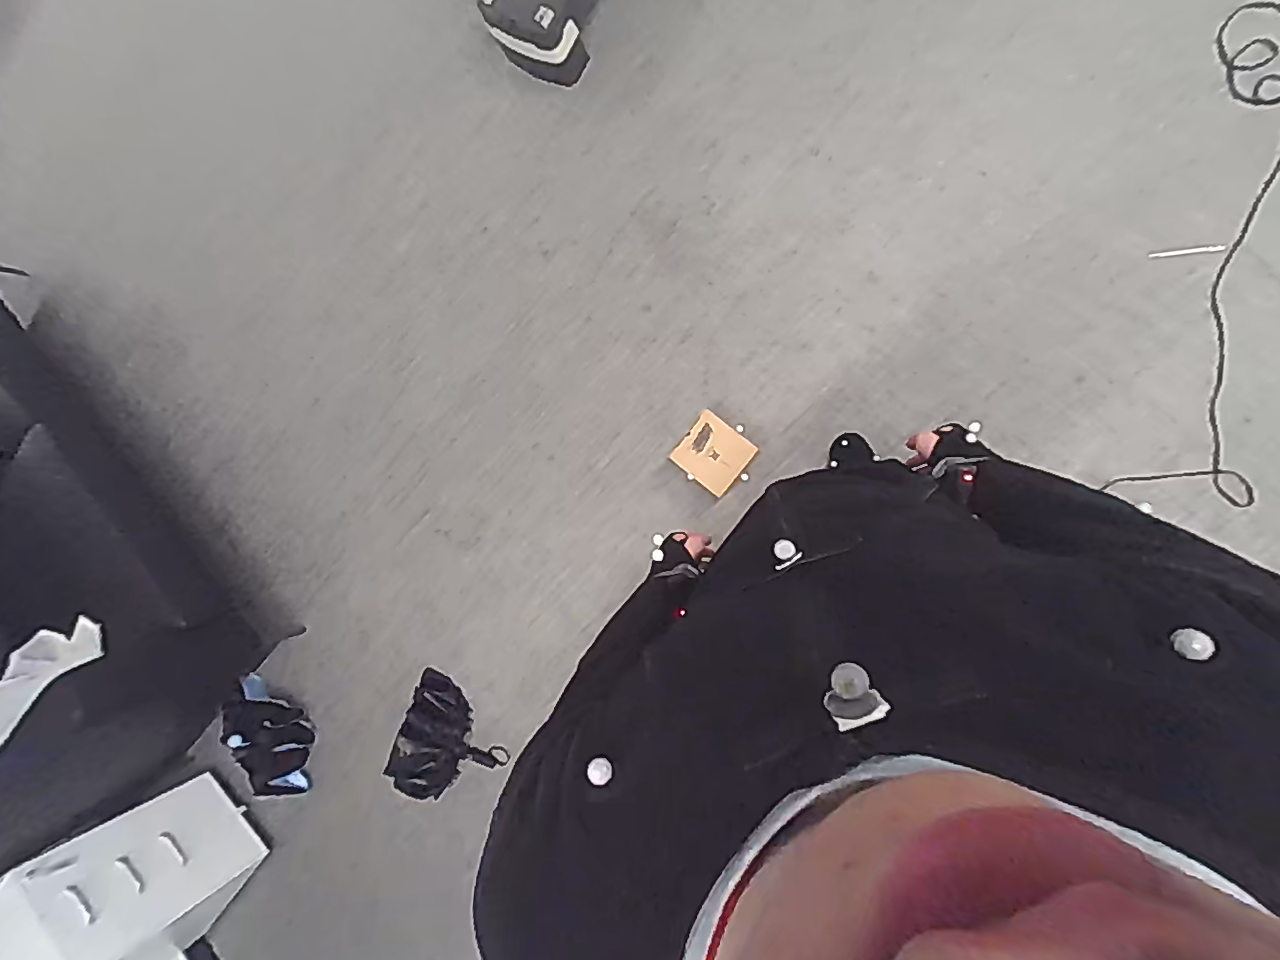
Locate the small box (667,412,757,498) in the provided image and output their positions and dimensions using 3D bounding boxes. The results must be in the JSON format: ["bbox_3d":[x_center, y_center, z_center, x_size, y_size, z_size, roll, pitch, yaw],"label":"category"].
[{"bbox_3d":[0.206,-0.066,1.497,0.179,0.176,0.168,40,101,11],"label":"small box"}]
